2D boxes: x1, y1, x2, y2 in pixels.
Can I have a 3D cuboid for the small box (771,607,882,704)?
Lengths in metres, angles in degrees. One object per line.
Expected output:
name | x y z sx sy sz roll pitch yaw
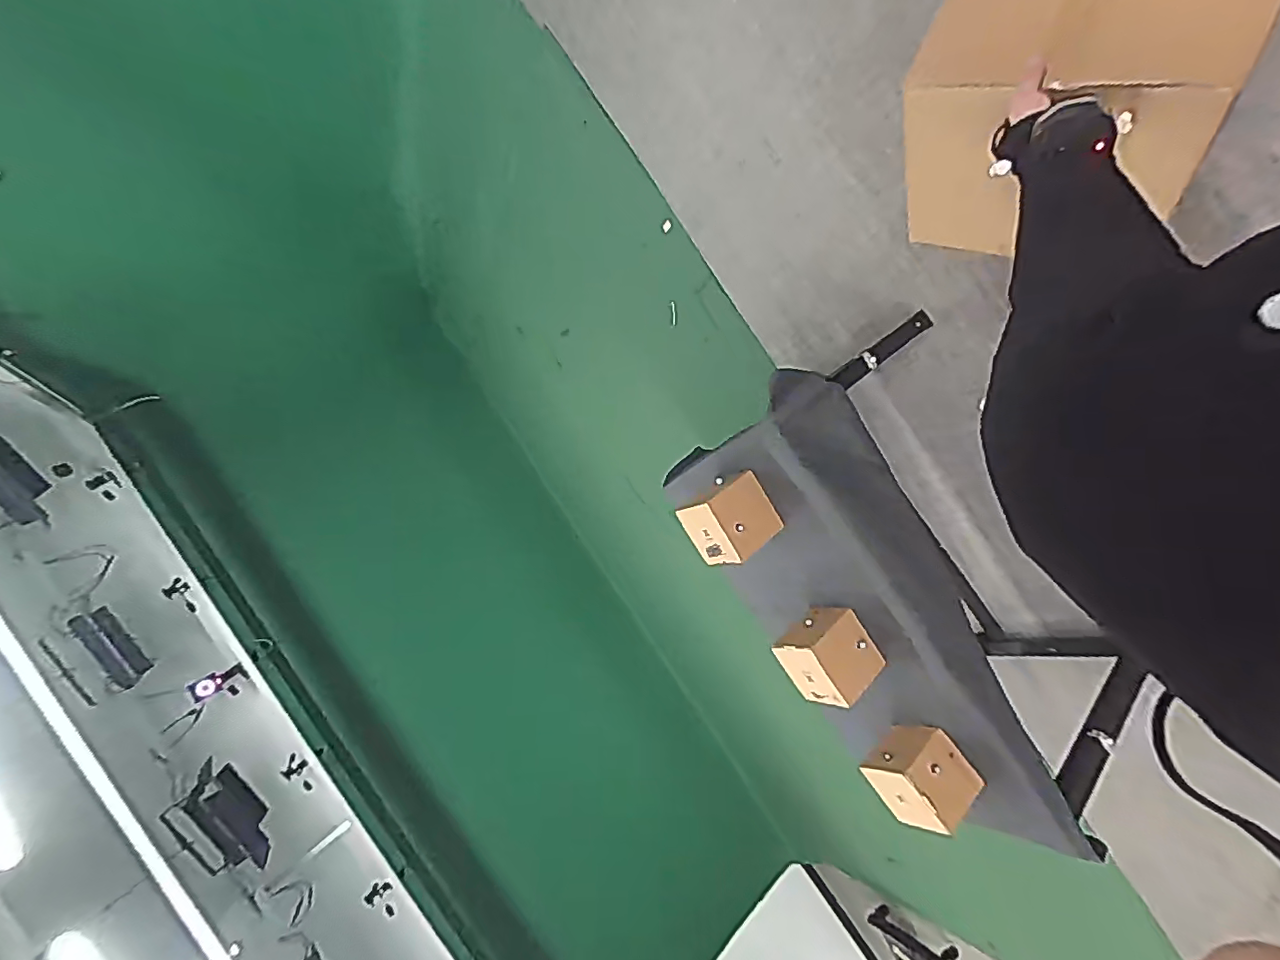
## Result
small box | 0.484 0.445 1.404 0.179 0.176 0.168 57 154 -1

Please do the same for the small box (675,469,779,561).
small box | 0.232 0.095 1.423 0.179 0.176 0.168 59 153 -5

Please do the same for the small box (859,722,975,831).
small box | 0.706 0.739 1.370 0.168 0.176 0.179 53 156 9
